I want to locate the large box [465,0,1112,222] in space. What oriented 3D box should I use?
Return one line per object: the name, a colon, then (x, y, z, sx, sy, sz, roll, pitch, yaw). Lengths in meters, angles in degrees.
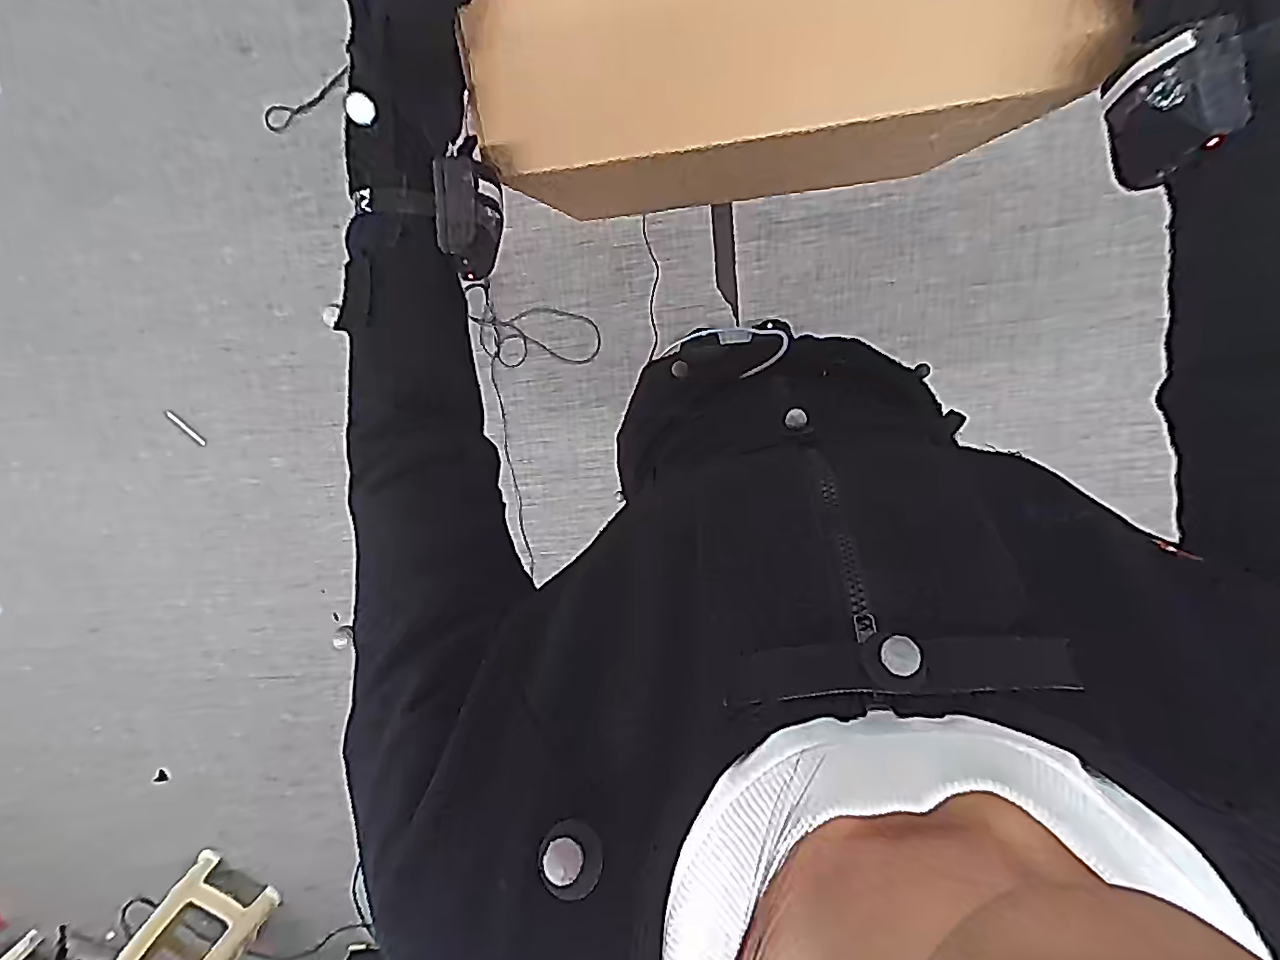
large box: (0.083, -0.430, 0.452, 0.408, 0.320, 0.320, -5, 110, 7)
